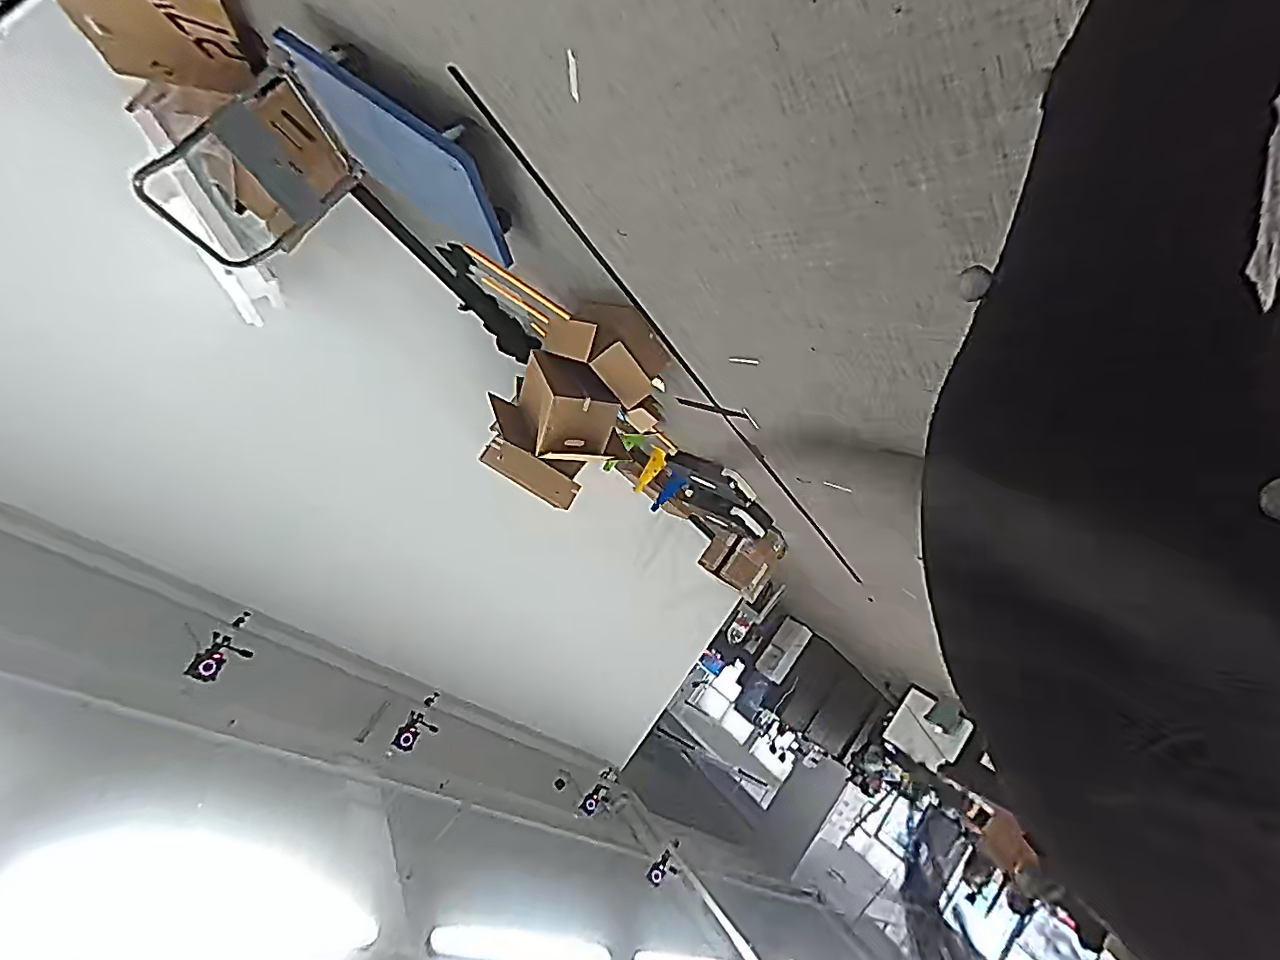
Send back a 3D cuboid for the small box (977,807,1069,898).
[{"bbox_3d":[1.208,1.166,1.705,0.168,0.176,0.179,42,169,-37],"label":"small box"}]
